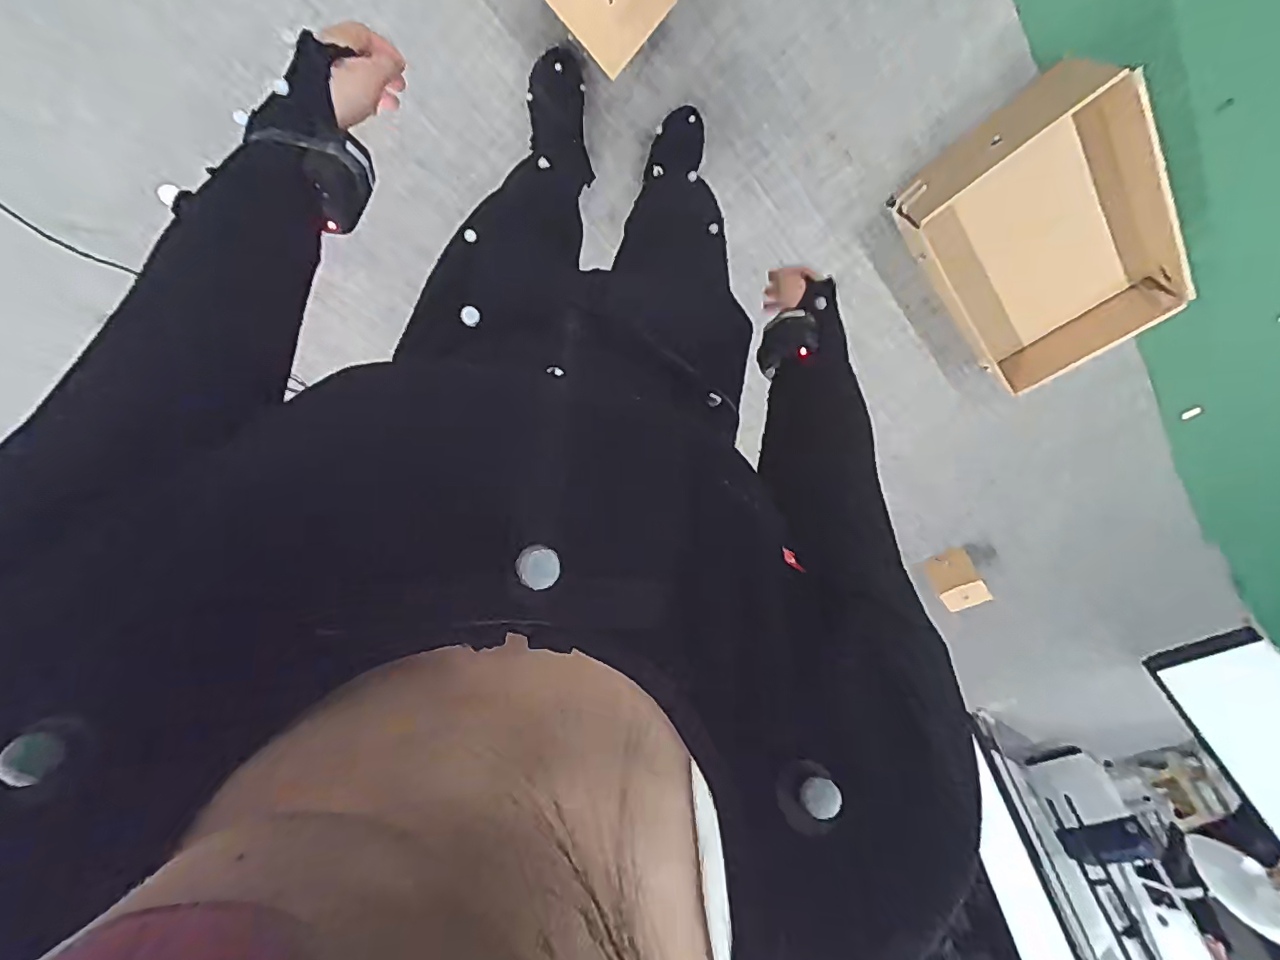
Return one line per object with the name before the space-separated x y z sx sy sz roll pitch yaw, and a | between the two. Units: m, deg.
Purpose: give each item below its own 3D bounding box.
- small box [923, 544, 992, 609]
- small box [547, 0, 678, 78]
small box | 1.278 0.389 2.182 0.168 0.176 0.179 -31 128 25
small box | -0.050 -0.832 0.907 0.179 0.176 0.168 33 127 -32
